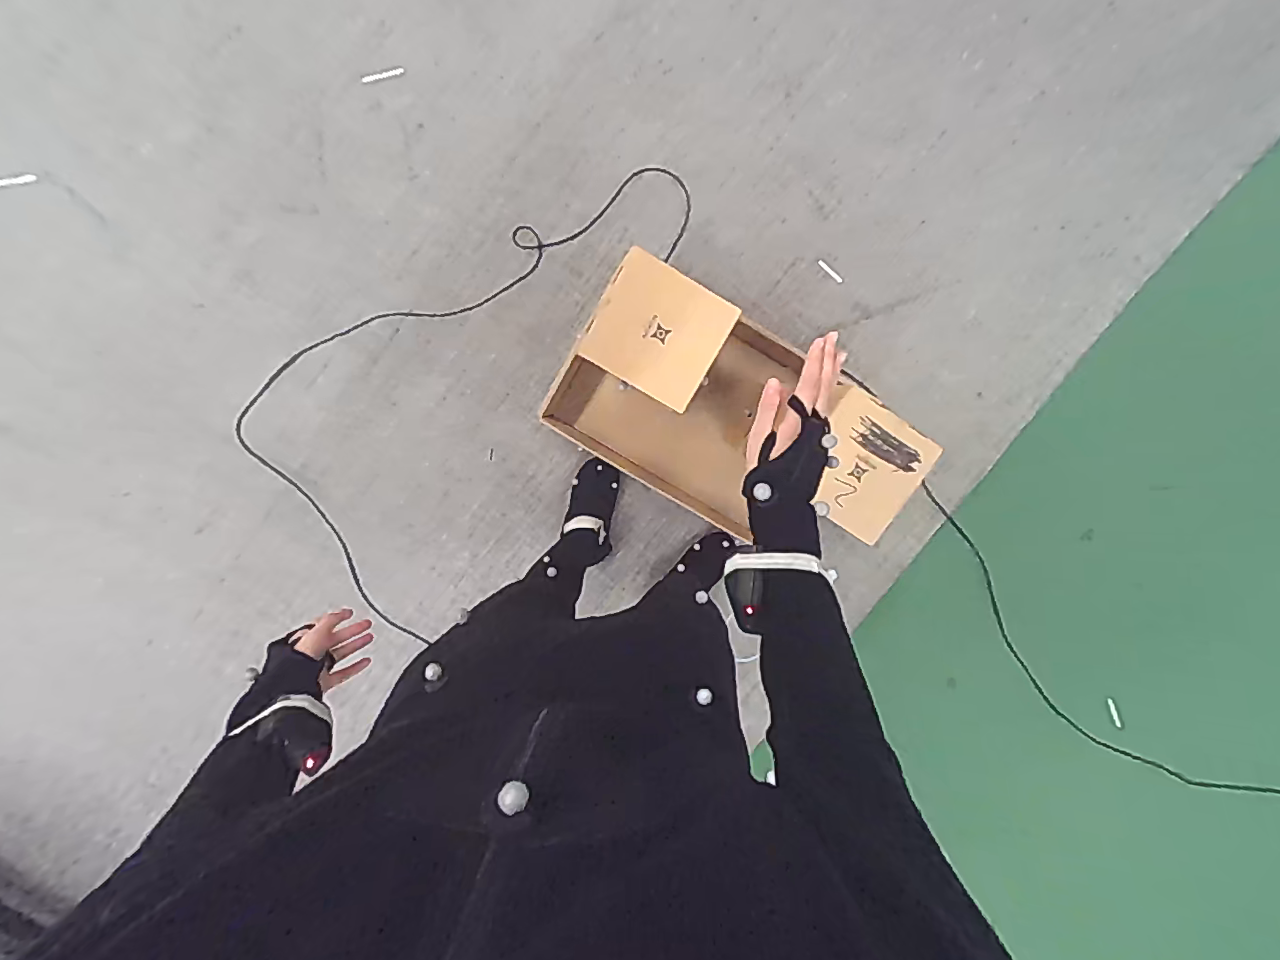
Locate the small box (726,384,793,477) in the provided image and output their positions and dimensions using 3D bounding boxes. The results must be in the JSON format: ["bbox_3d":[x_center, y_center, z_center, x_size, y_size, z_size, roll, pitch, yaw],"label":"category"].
[{"bbox_3d":[0.308,-0.087,1.174,0.179,0.176,0.168,35,97,-4],"label":"small box"}]

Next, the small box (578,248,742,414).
[{"bbox_3d":[0.028,-0.218,0.824,0.179,0.176,0.168,30,99,-4],"label":"small box"}]

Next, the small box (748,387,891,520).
[{"bbox_3d":[0.321,-0.054,1.012,0.168,0.176,0.179,35,96,-6],"label":"small box"}]
